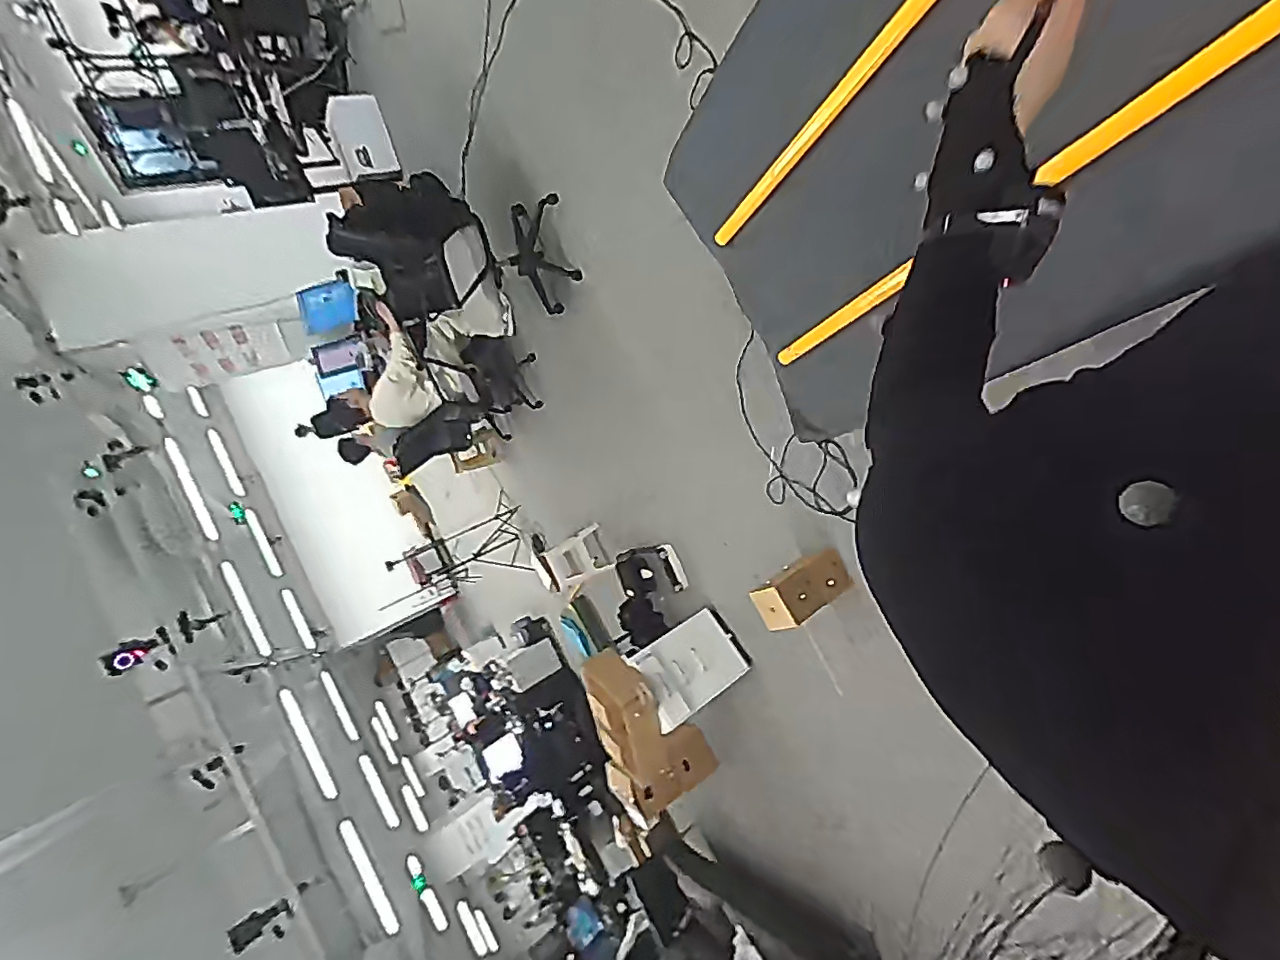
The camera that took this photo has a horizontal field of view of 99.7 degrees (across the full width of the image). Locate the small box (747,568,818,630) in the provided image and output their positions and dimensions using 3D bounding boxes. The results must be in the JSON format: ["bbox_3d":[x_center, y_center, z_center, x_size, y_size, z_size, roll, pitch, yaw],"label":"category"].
[{"bbox_3d":[0.549,0.452,2.061,0.168,0.176,0.179,60,152,7],"label":"small box"}]

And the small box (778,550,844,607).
[{"bbox_3d":[0.678,0.394,2.146,0.168,0.176,0.179,61,152,5],"label":"small box"}]
